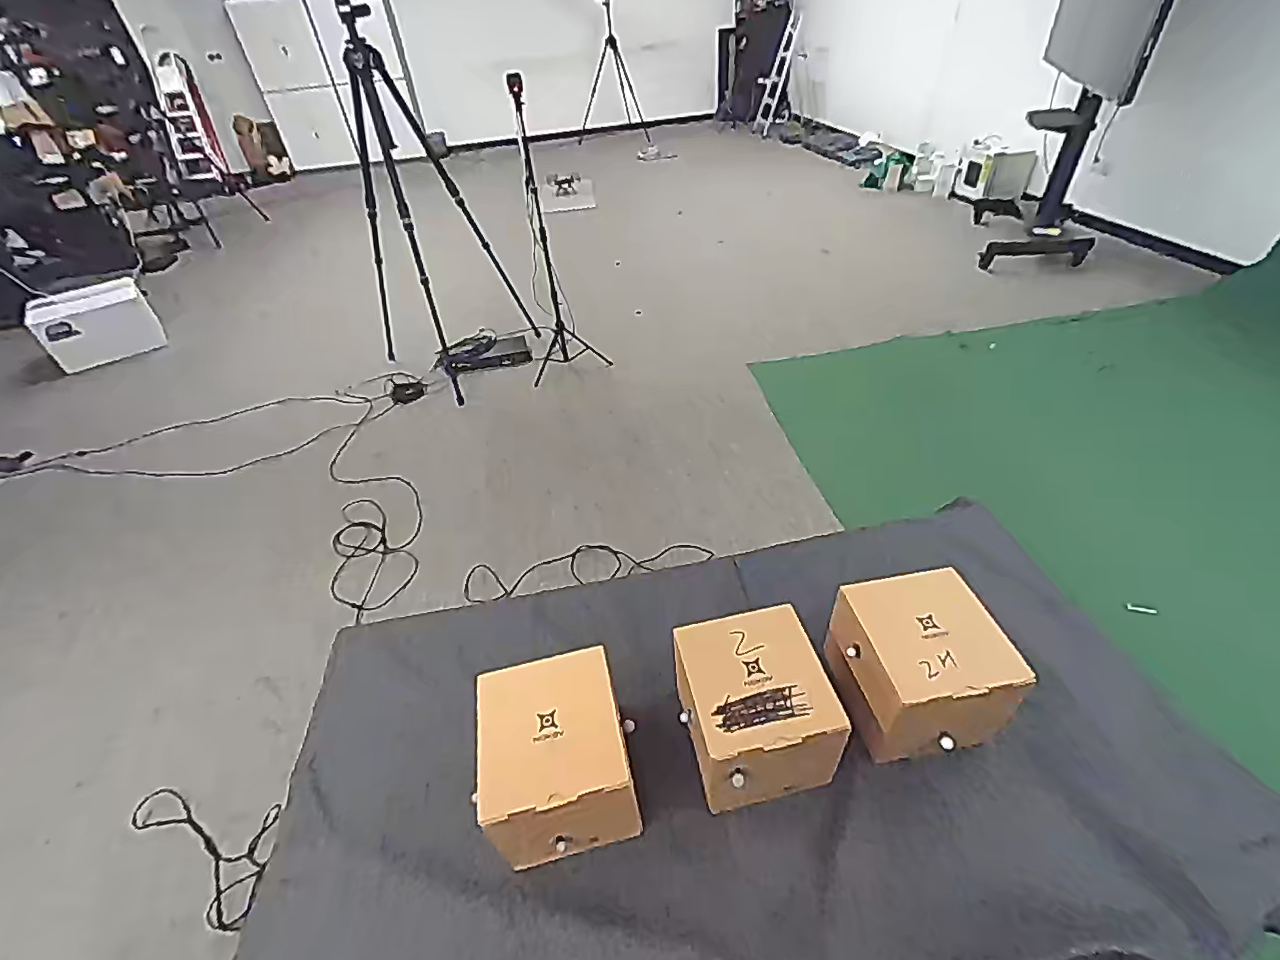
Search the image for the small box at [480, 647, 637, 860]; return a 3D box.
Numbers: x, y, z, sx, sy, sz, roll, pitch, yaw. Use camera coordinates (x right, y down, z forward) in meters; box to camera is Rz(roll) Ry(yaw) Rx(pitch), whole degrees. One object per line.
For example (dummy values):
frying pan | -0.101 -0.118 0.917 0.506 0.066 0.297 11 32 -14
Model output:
small box | -0.103 0.350 0.697 0.168 0.176 0.179 -11 42 -7
